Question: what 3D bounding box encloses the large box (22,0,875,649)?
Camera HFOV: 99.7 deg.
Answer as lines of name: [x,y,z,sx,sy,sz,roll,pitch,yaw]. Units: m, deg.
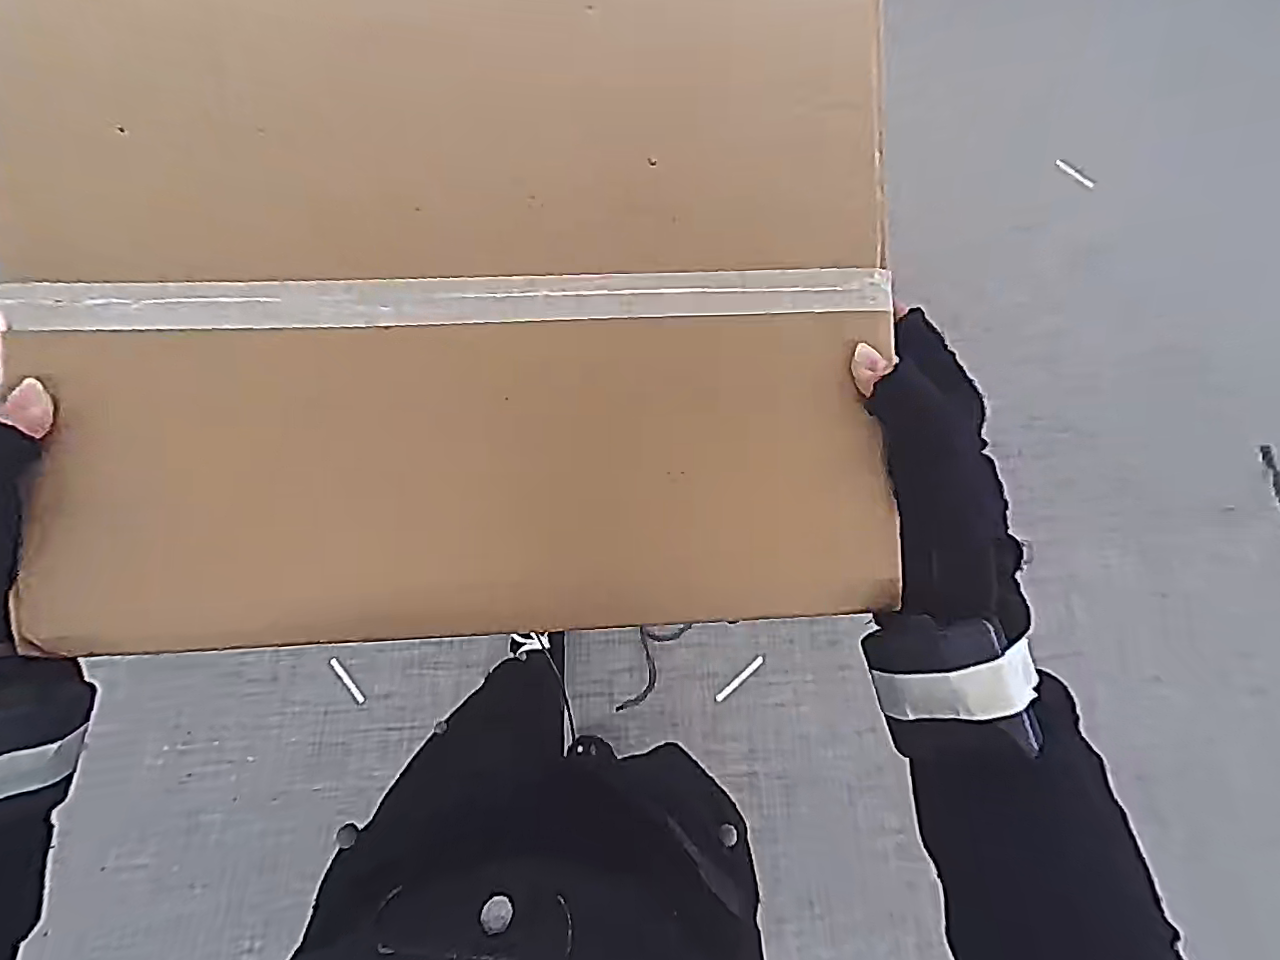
large box: [-0.089,-0.084,0.412,0.408,0.320,0.320,-2,90,-4]
